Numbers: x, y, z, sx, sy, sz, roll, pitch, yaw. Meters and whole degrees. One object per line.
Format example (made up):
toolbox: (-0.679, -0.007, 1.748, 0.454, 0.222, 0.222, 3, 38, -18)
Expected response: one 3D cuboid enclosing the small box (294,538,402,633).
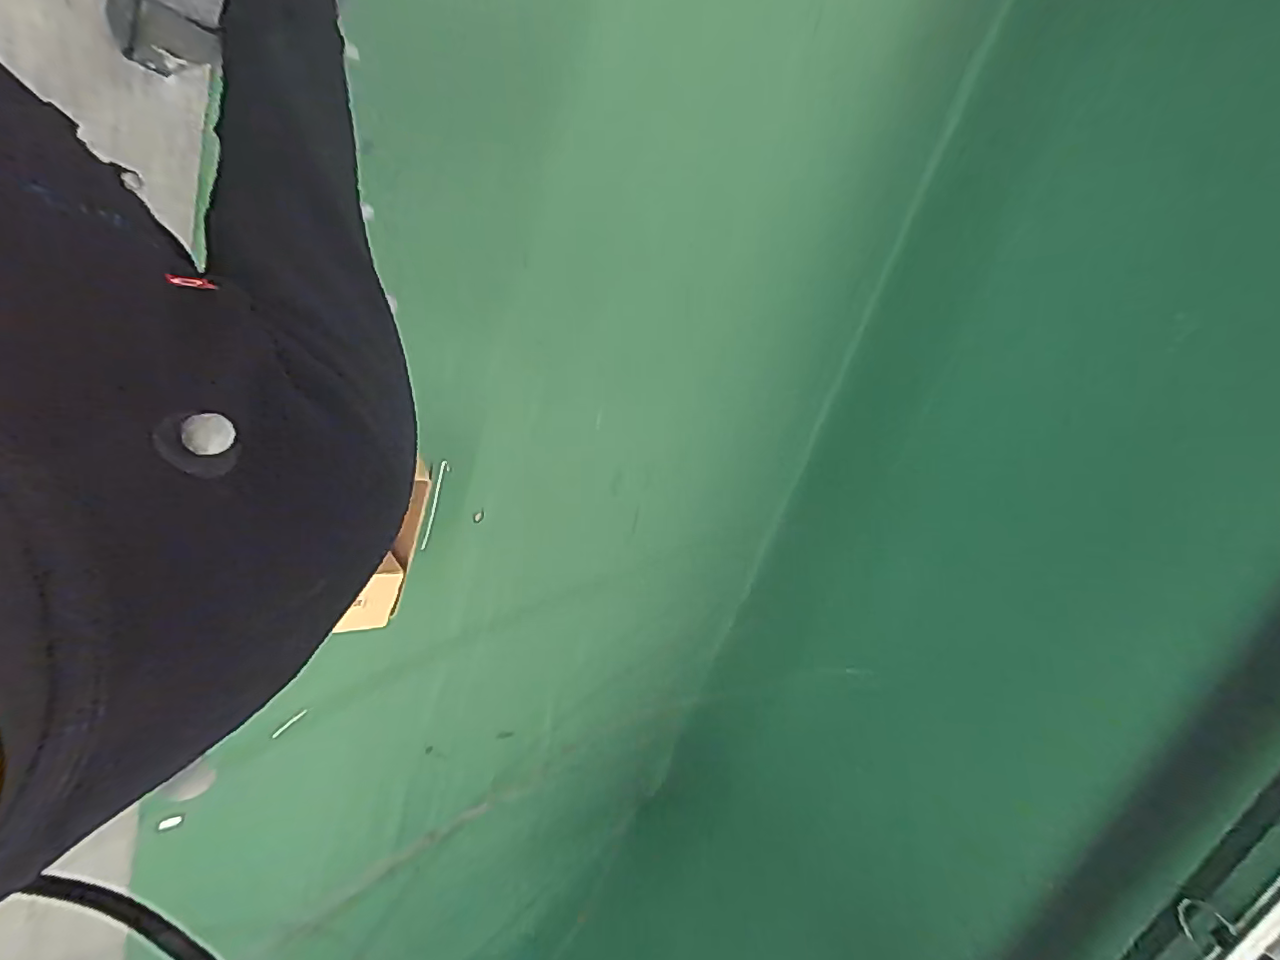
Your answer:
small box: (-0.733, 0.255, 1.349, 0.179, 0.176, 0.168, 8, 111, -50)
